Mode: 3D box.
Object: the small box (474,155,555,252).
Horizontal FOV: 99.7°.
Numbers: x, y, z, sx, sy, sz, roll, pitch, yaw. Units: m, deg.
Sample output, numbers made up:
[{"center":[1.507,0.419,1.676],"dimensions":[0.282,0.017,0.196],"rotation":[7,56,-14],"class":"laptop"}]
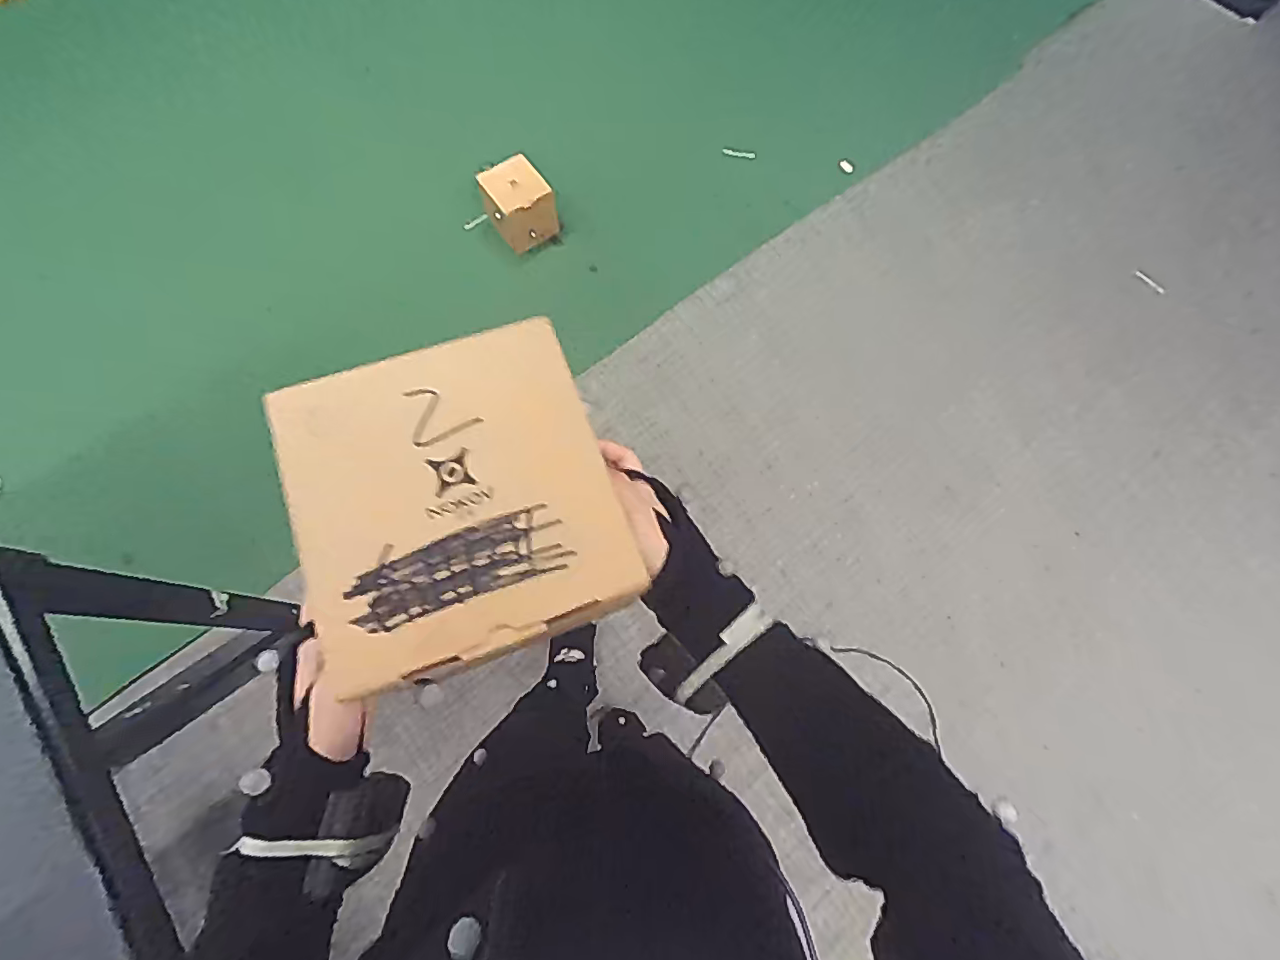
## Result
[{"center":[-0.383,-0.851,1.674],"dimensions":[0.168,0.176,0.179],"rotation":[-35,76,-12],"class":"small box"}]
